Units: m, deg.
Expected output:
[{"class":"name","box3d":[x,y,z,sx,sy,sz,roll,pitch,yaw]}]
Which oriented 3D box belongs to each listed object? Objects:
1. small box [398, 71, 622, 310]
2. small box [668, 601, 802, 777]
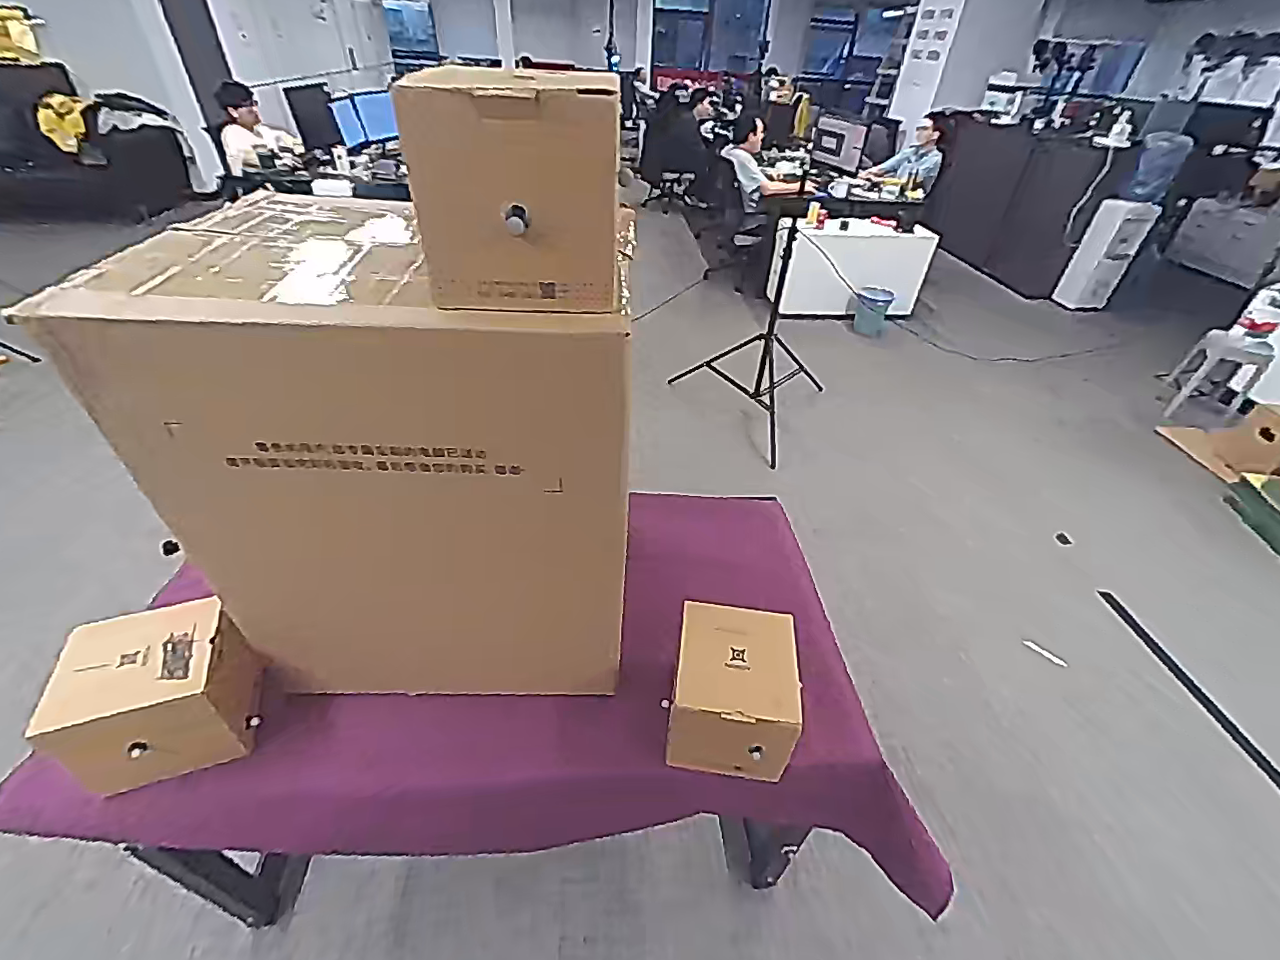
[{"class":"small box","box3d":[-0.100,-0.271,0.509,0.168,0.176,0.179,0,41,-3]},{"class":"small box","box3d":[0.134,0.310,0.803,0.168,0.176,0.179,7,37,4]}]
